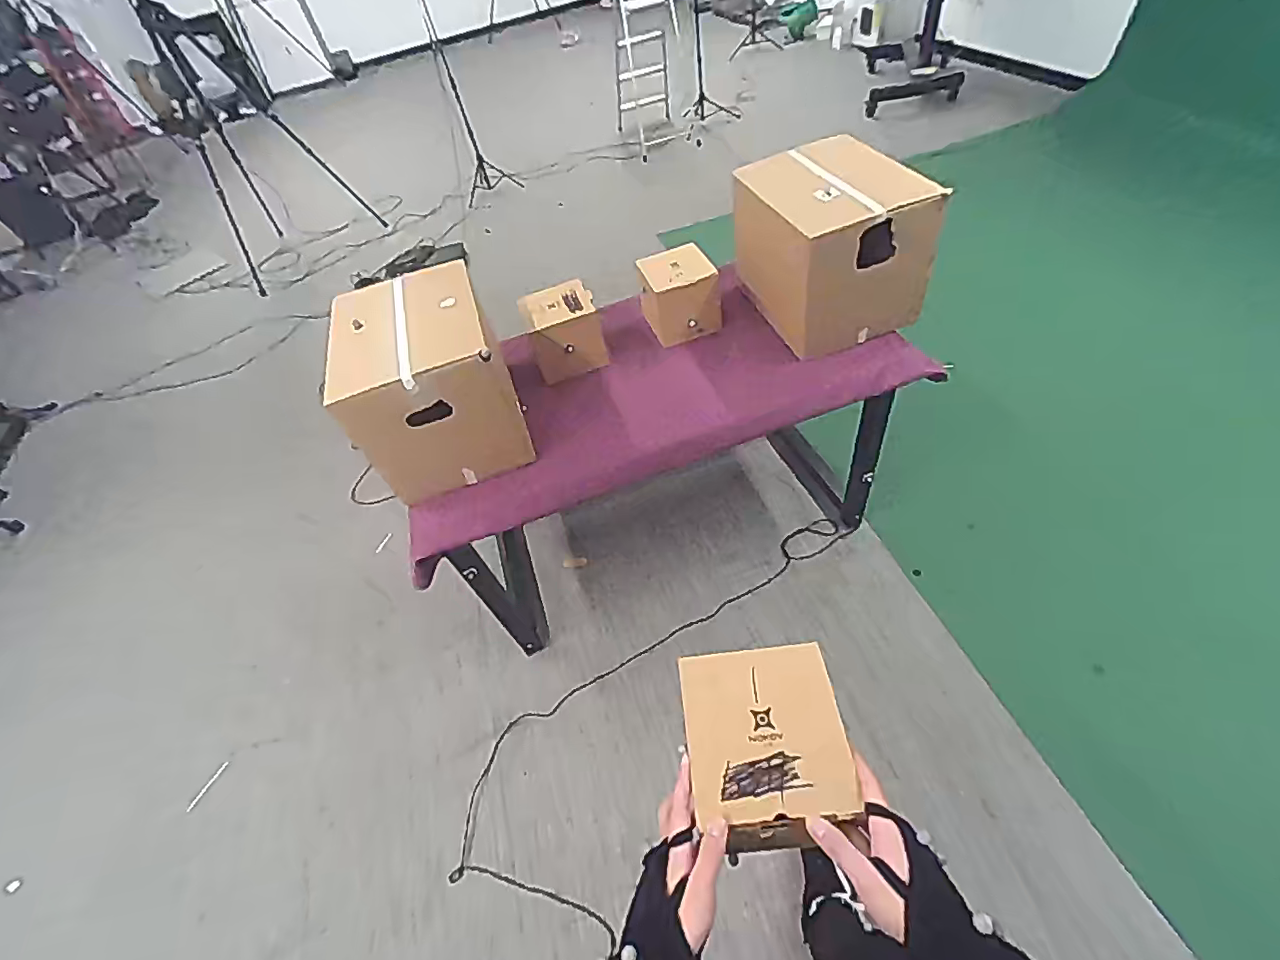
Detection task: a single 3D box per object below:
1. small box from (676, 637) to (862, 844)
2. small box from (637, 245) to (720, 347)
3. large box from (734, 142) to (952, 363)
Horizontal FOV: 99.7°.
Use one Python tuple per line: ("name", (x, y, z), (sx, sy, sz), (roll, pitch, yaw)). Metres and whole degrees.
("small box", (0.138, 0.308, 0.628), (0.168, 0.176, 0.179), (-8, 47, 3))
("small box", (0.101, -0.479, 1.413), (0.168, 0.176, 0.179), (-19, 50, -4))
("large box", (0.451, -0.556, 1.315), (0.320, 0.320, 0.408), (-20, 50, -3))
